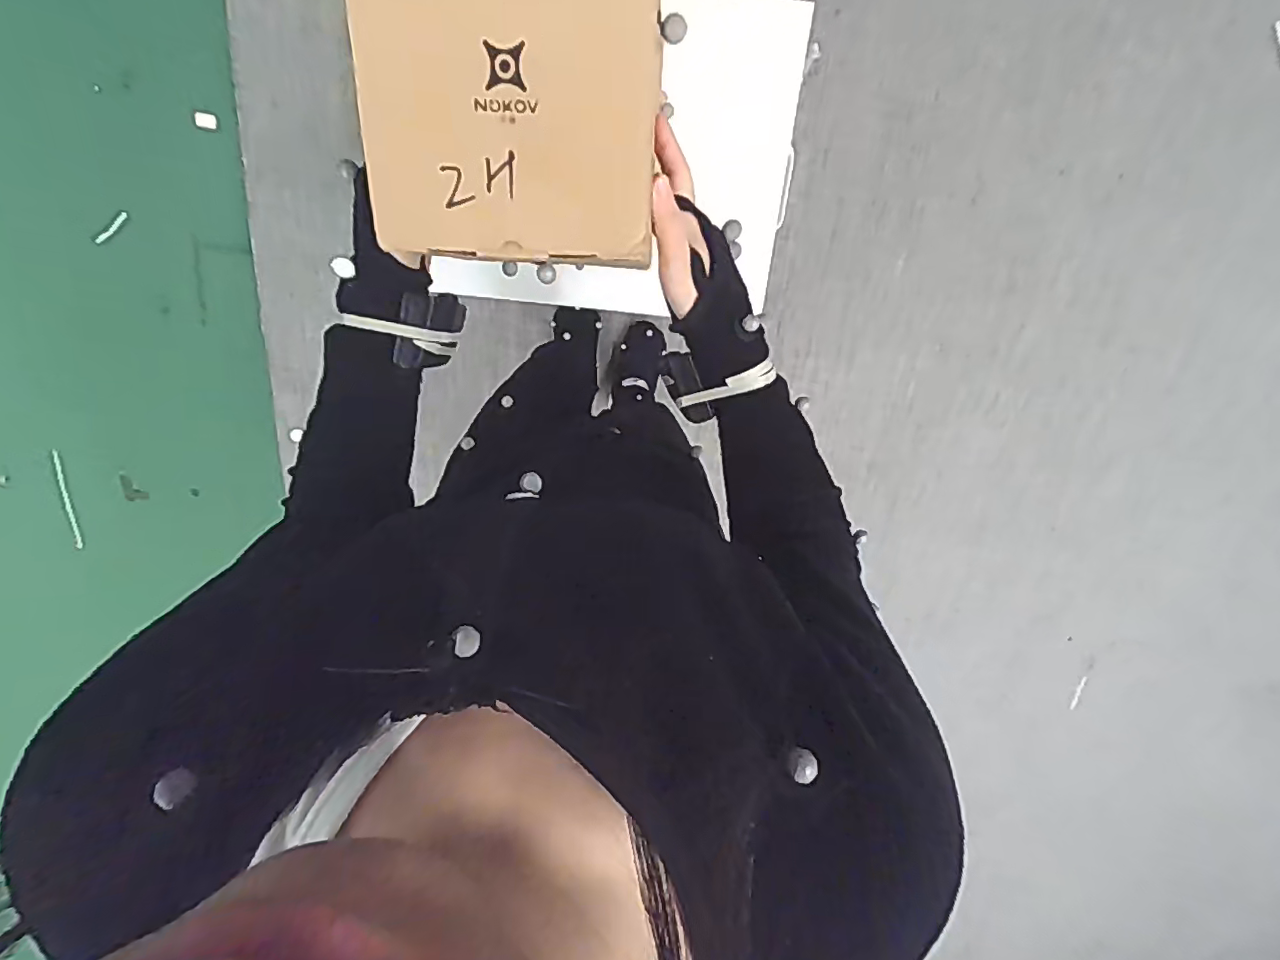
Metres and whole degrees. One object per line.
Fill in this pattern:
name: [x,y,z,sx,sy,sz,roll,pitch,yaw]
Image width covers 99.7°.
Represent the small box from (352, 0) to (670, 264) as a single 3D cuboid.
small box: [-0.067,-0.246,0.362,0.168,0.176,0.179,3,110,1]
